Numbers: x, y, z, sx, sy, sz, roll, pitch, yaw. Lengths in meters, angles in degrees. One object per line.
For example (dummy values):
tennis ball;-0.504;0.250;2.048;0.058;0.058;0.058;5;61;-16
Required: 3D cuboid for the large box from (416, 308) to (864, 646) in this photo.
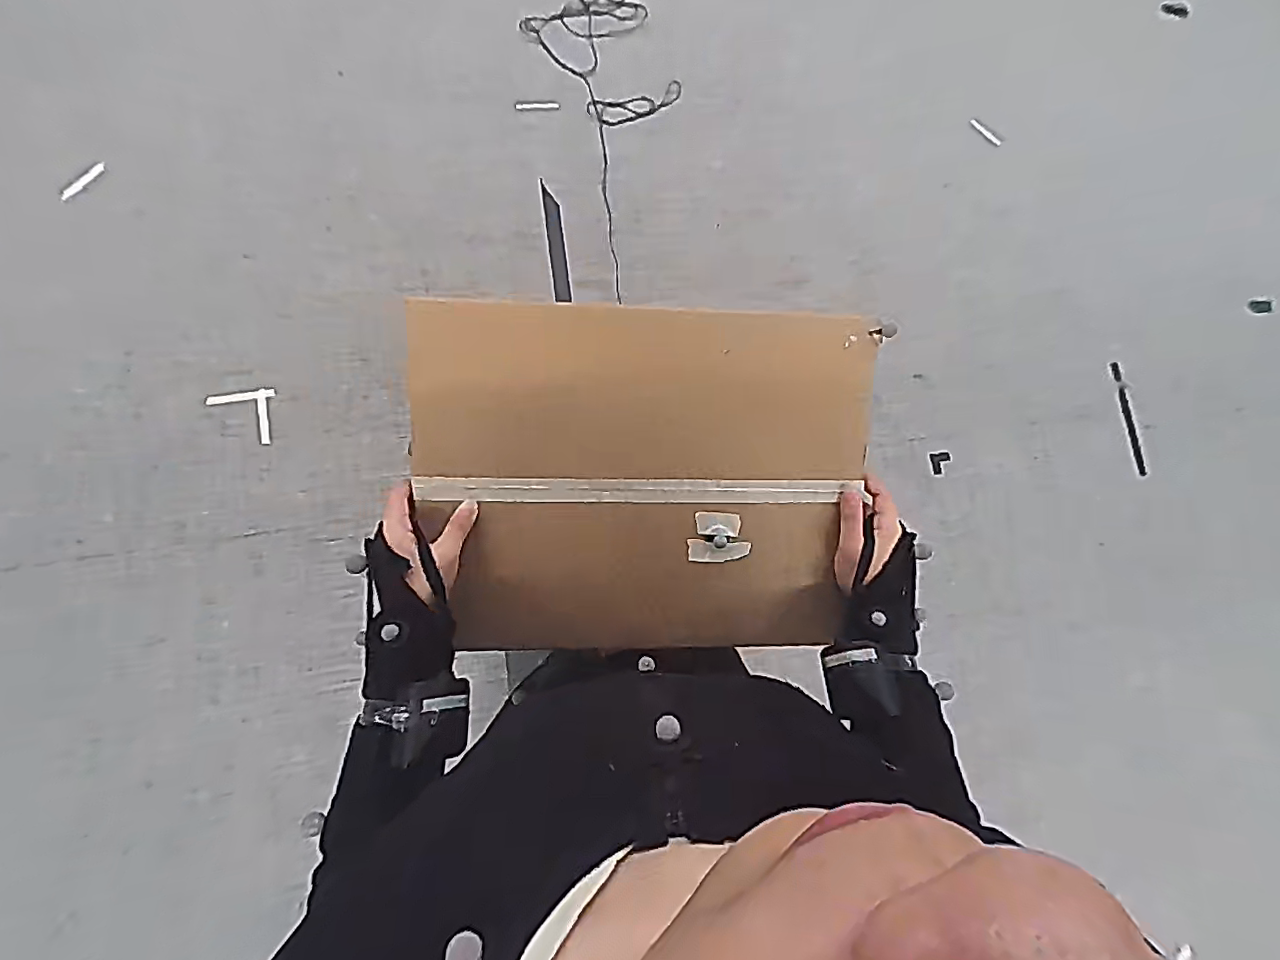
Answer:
large box;-0.010;-0.023;0.646;0.408;0.320;0.320;0;102;-6
